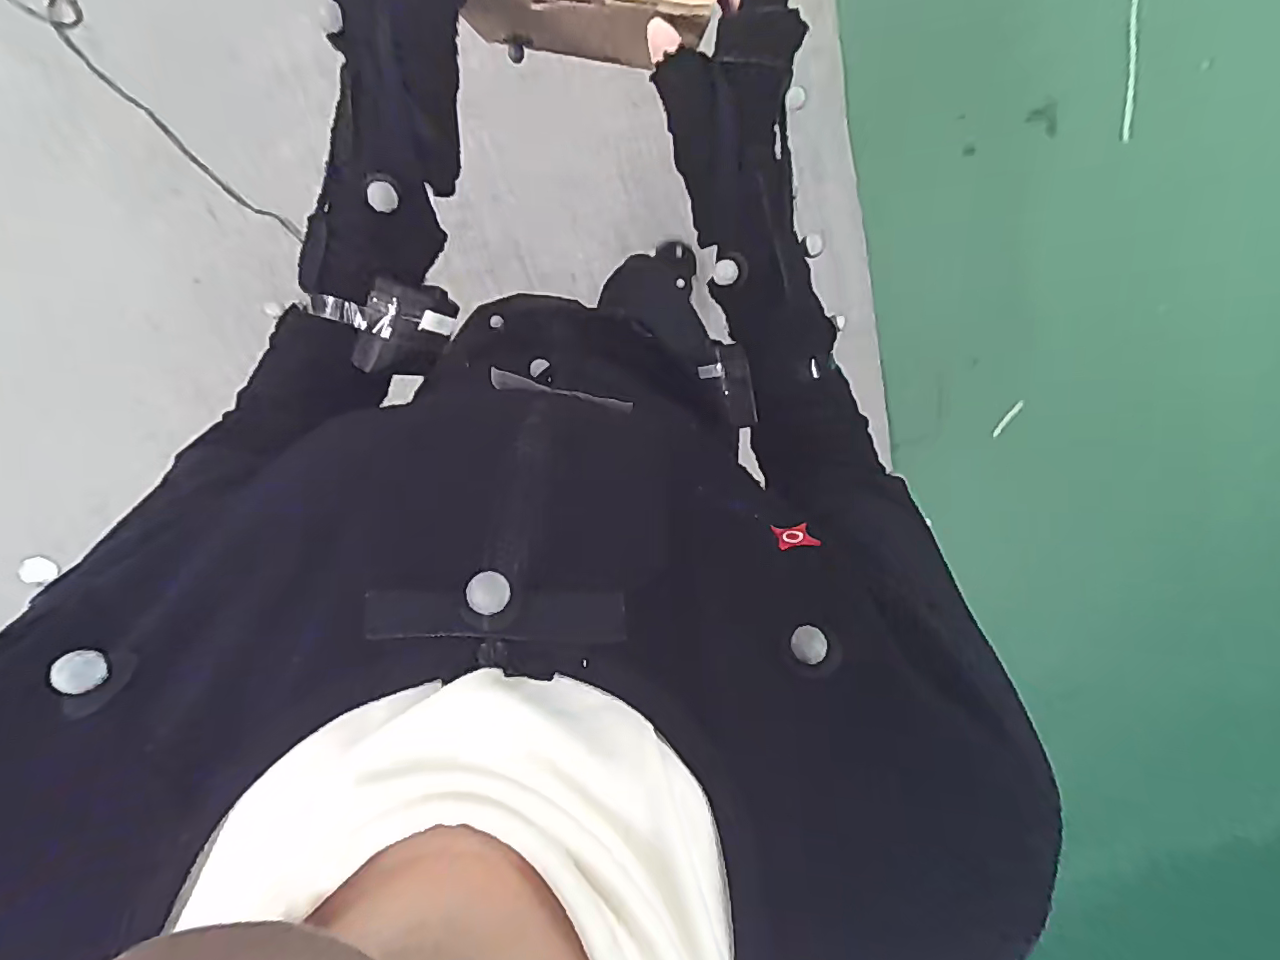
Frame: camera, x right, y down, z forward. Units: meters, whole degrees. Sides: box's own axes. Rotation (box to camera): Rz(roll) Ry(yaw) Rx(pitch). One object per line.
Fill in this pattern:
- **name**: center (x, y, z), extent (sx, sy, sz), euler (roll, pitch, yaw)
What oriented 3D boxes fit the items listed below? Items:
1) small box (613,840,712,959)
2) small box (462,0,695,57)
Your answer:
- **small box**: center (0.036, 0.843, 1.050), extent (0.168, 0.176, 0.179), euler (2, 104, -6)
- **small box**: center (-0.037, -0.384, 0.322), extent (0.168, 0.176, 0.179), euler (5, 116, -4)
